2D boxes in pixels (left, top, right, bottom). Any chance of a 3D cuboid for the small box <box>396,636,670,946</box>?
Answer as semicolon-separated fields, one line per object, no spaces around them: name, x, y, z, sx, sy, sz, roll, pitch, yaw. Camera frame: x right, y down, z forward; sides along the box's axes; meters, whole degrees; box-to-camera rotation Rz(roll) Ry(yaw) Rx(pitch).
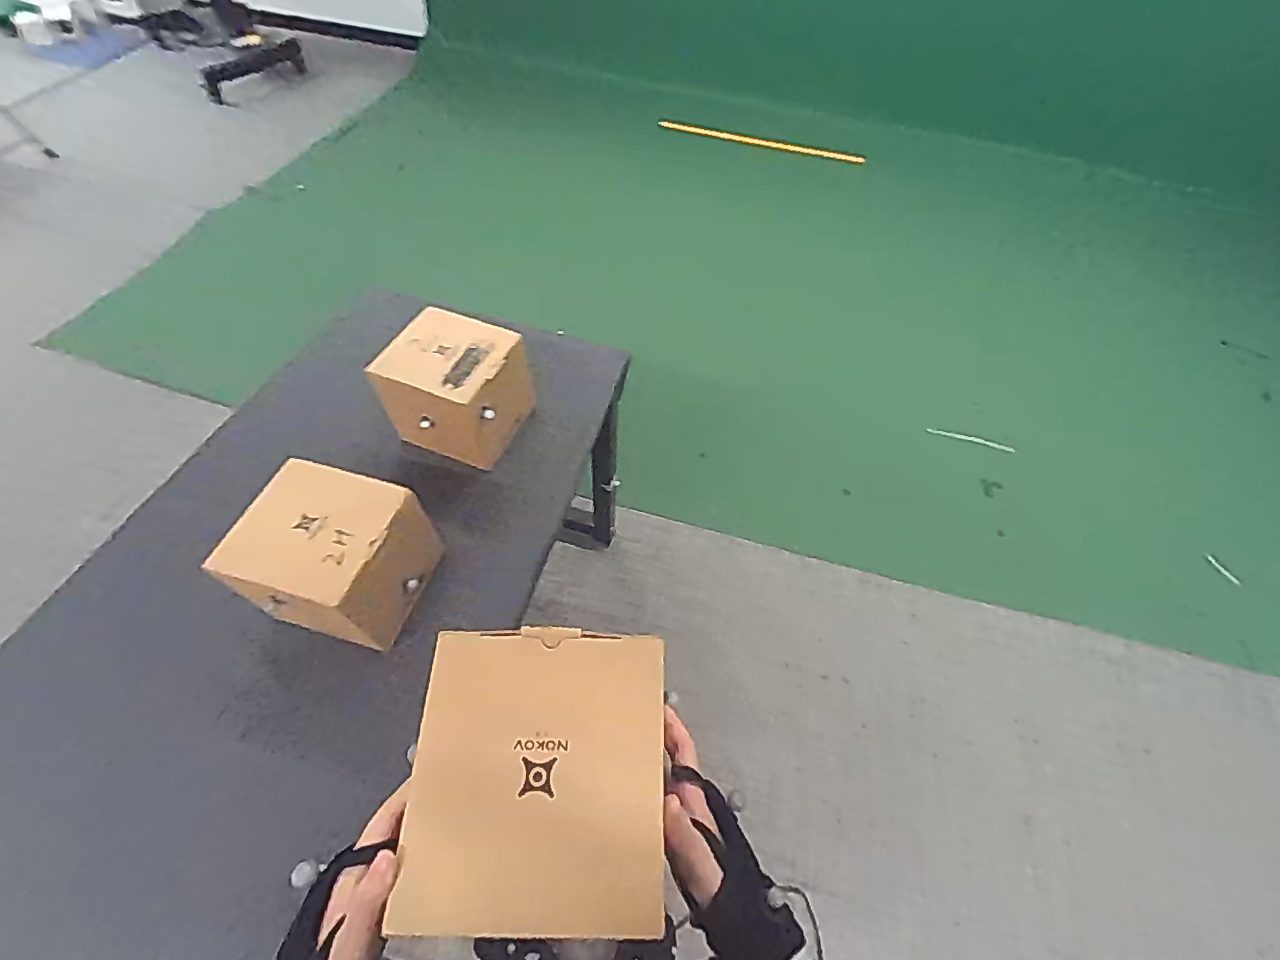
small box;-0.063;0.231;0.428;0.168;0.176;0.179;2;62;-1

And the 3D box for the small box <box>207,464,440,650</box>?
small box;-0.399;0.108;0.721;0.179;0.176;0.168;14;56;7
